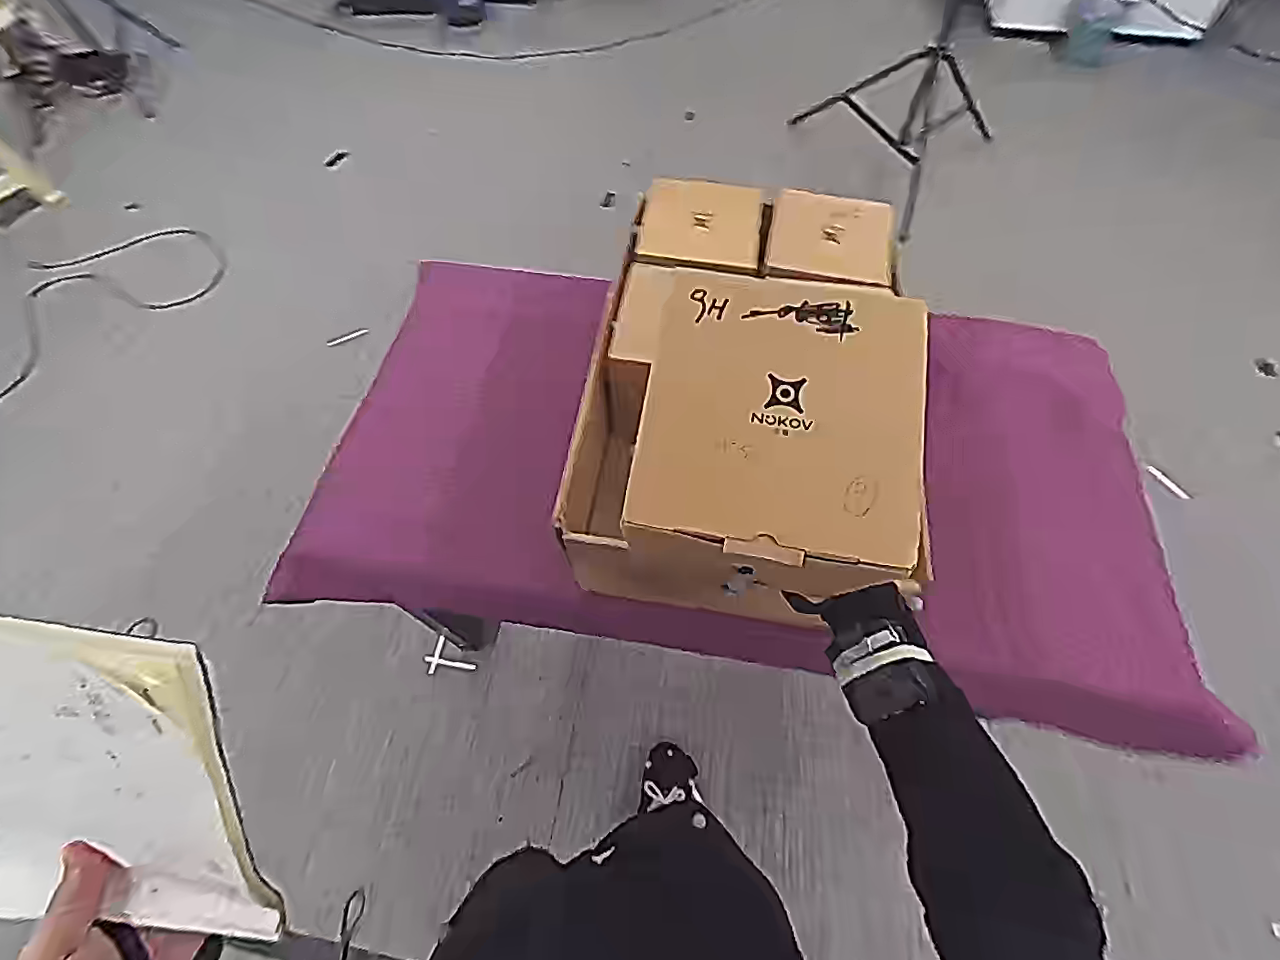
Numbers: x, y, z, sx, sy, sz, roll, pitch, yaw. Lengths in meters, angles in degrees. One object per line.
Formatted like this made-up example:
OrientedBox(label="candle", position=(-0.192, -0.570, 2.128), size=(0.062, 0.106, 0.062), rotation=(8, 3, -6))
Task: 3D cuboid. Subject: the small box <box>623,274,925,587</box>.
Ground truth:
OrientedBox(label="small box", position=(0.090, -0.022, 0.404), size=(0.168, 0.176, 0.179), rotation=(8, 75, 6))
